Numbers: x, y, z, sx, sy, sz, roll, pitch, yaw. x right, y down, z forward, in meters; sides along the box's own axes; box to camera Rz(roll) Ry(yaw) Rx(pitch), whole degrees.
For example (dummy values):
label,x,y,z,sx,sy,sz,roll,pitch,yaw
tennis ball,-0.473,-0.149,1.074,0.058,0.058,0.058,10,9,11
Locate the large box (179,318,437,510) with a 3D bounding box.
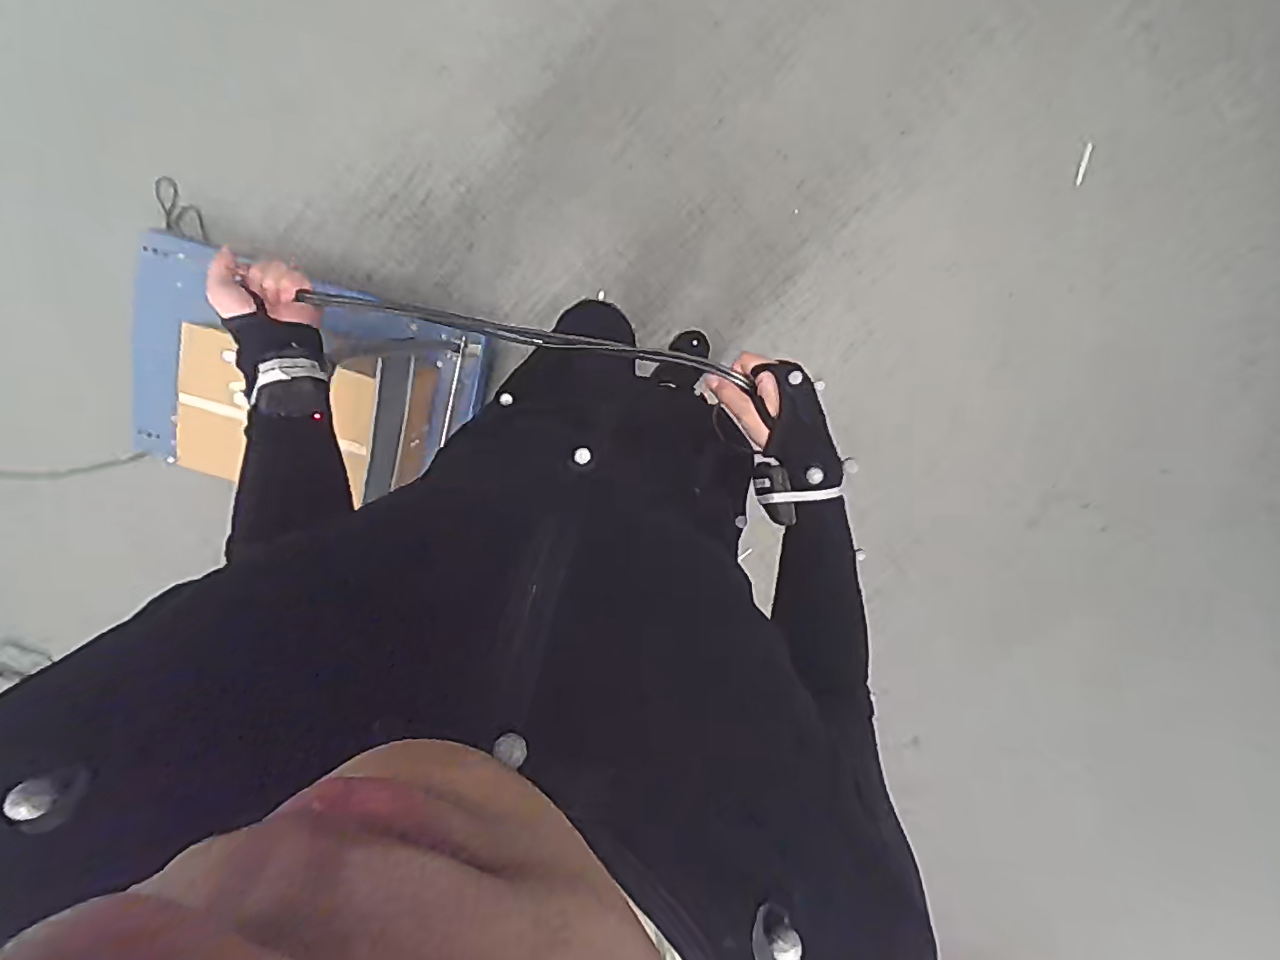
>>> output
label,x,y,z,sx,sy,sz,roll,pitch,yaw
large box,-0.745,-0.169,1.261,0.408,0.320,0.320,17,106,-3
